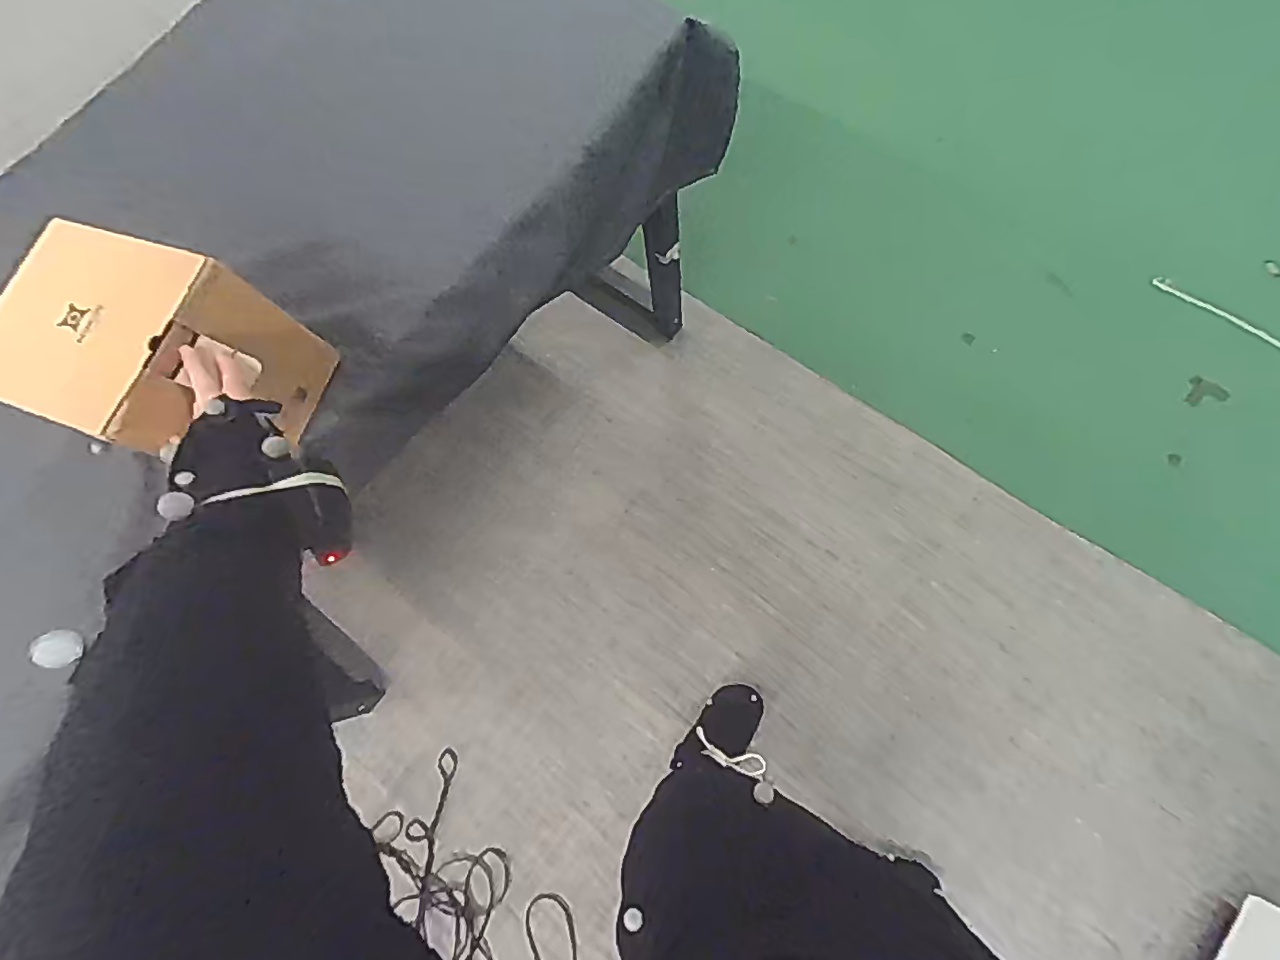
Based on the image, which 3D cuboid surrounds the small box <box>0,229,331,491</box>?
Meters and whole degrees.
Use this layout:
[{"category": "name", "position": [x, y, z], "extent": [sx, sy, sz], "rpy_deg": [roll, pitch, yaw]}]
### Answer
[{"category": "small box", "position": [-0.449, -0.101, 0.515], "extent": [0.179, 0.176, 0.168], "rpy_deg": [16, 77, 10]}]
